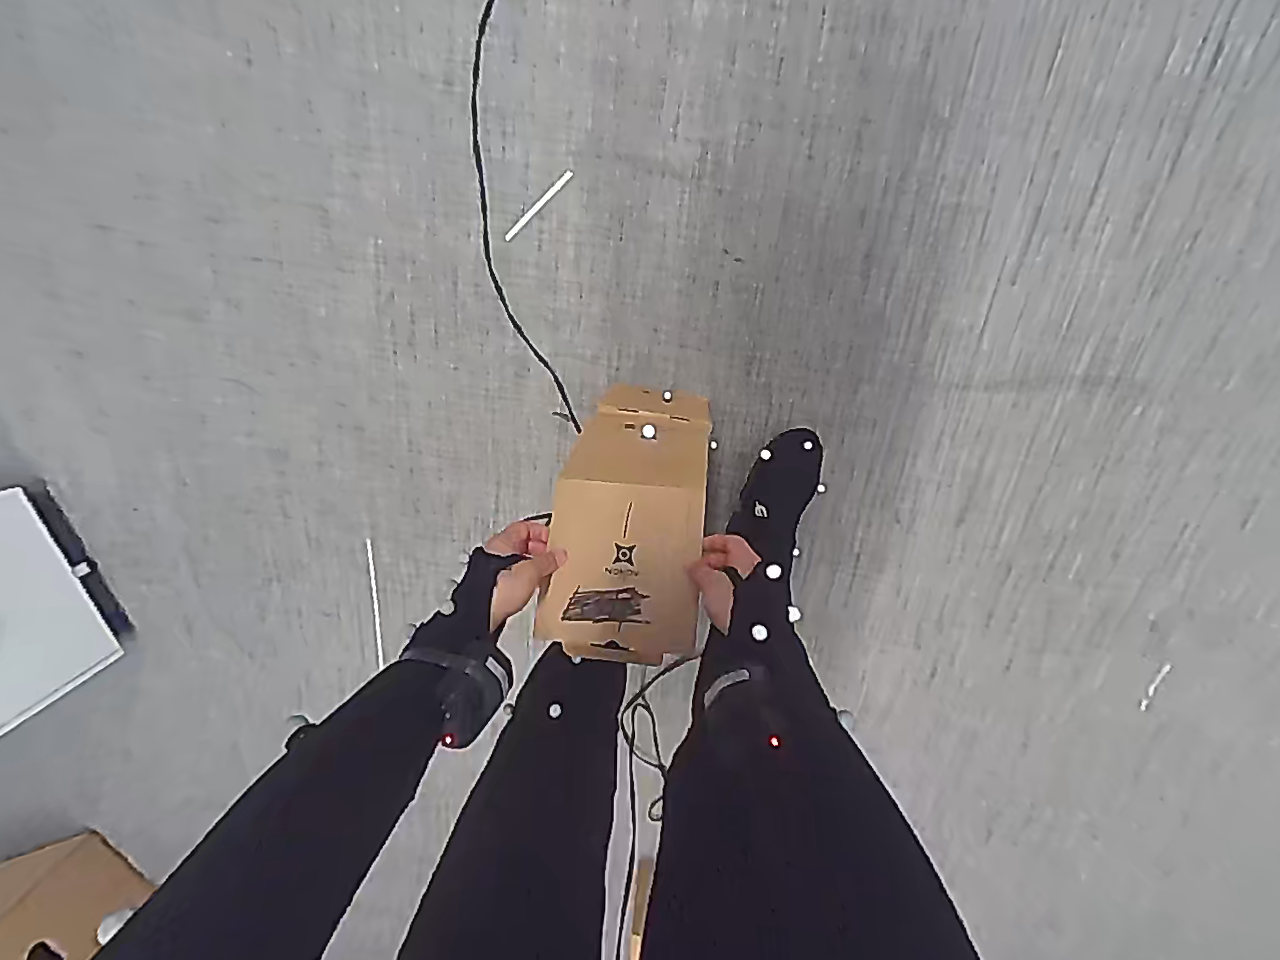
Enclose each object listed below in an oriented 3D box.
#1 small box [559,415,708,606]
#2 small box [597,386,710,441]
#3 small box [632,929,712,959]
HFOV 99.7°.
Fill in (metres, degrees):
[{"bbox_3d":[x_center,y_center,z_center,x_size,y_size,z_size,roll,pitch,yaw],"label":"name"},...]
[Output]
[{"bbox_3d":[-0.002,0.034,0.703,0.168,0.176,0.179,5,121,6],"label":"small box"},{"bbox_3d":[0.017,-0.041,0.869,0.168,0.176,0.179,10,110,2],"label":"small box"},{"bbox_3d":[0.059,1.070,1.097,0.168,0.176,0.179,6,109,3],"label":"small box"}]
